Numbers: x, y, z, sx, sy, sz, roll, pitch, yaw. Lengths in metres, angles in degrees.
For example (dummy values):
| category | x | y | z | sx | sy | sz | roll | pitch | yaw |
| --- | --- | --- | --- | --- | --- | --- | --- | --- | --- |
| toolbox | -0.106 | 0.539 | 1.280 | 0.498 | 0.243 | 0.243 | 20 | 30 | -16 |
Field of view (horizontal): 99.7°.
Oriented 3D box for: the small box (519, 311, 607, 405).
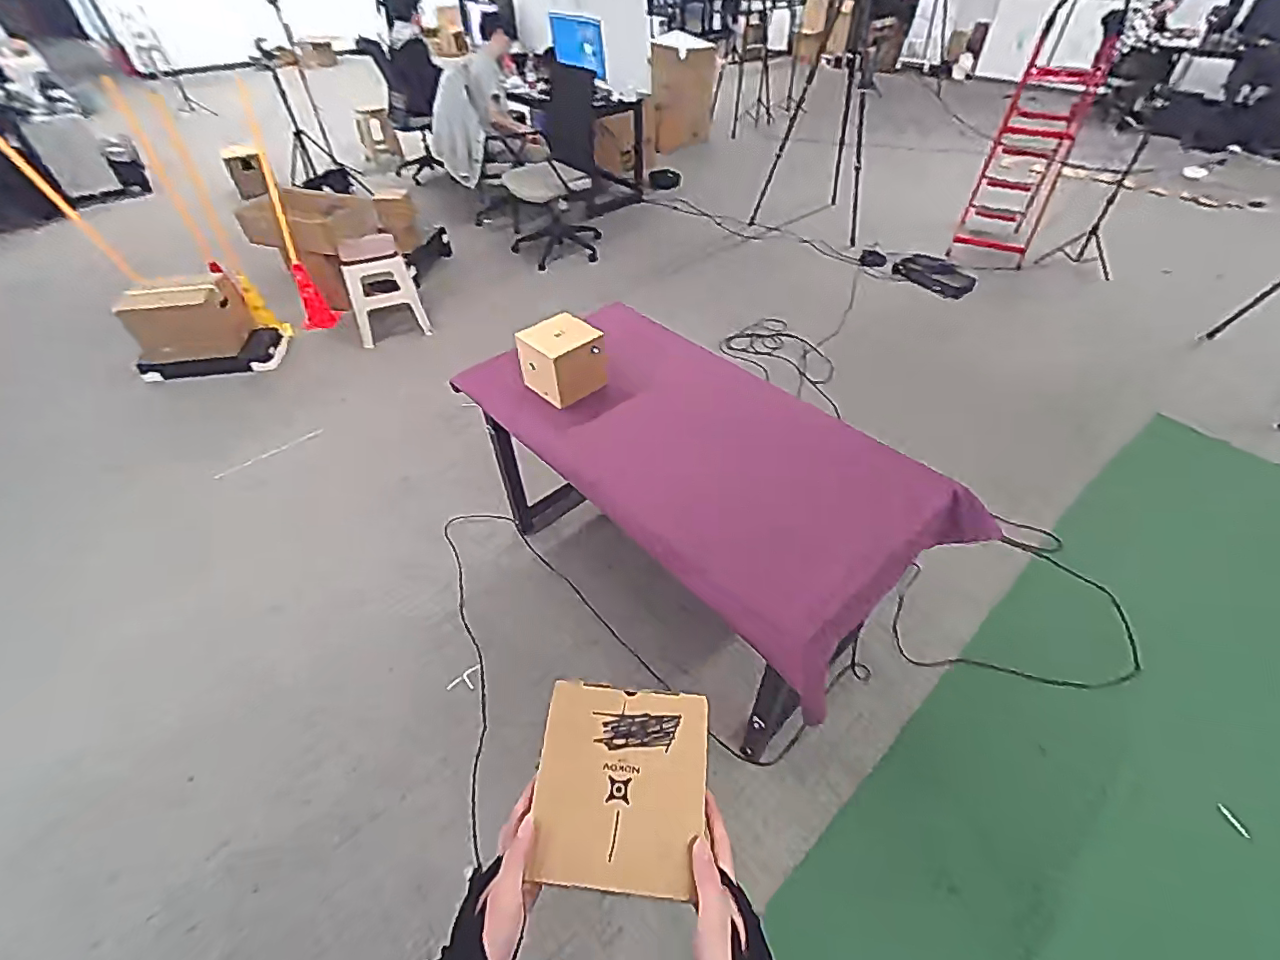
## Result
| category | x | y | z | sx | sy | sz | roll | pitch | yaw |
| --- | --- | --- | --- | --- | --- | --- | --- | --- | --- |
| small box | -0.204 | -0.334 | 1.488 | 0.179 | 0.176 | 0.168 | -34 | 54 | -29 |

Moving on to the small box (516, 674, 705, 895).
| category | x | y | z | sx | sy | sz | roll | pitch | yaw |
| --- | --- | --- | --- | --- | --- | --- | --- | --- | --- |
| small box | -0.021 | 0.331 | 0.586 | 0.168 | 0.176 | 0.179 | 4 | 53 | 4 |
